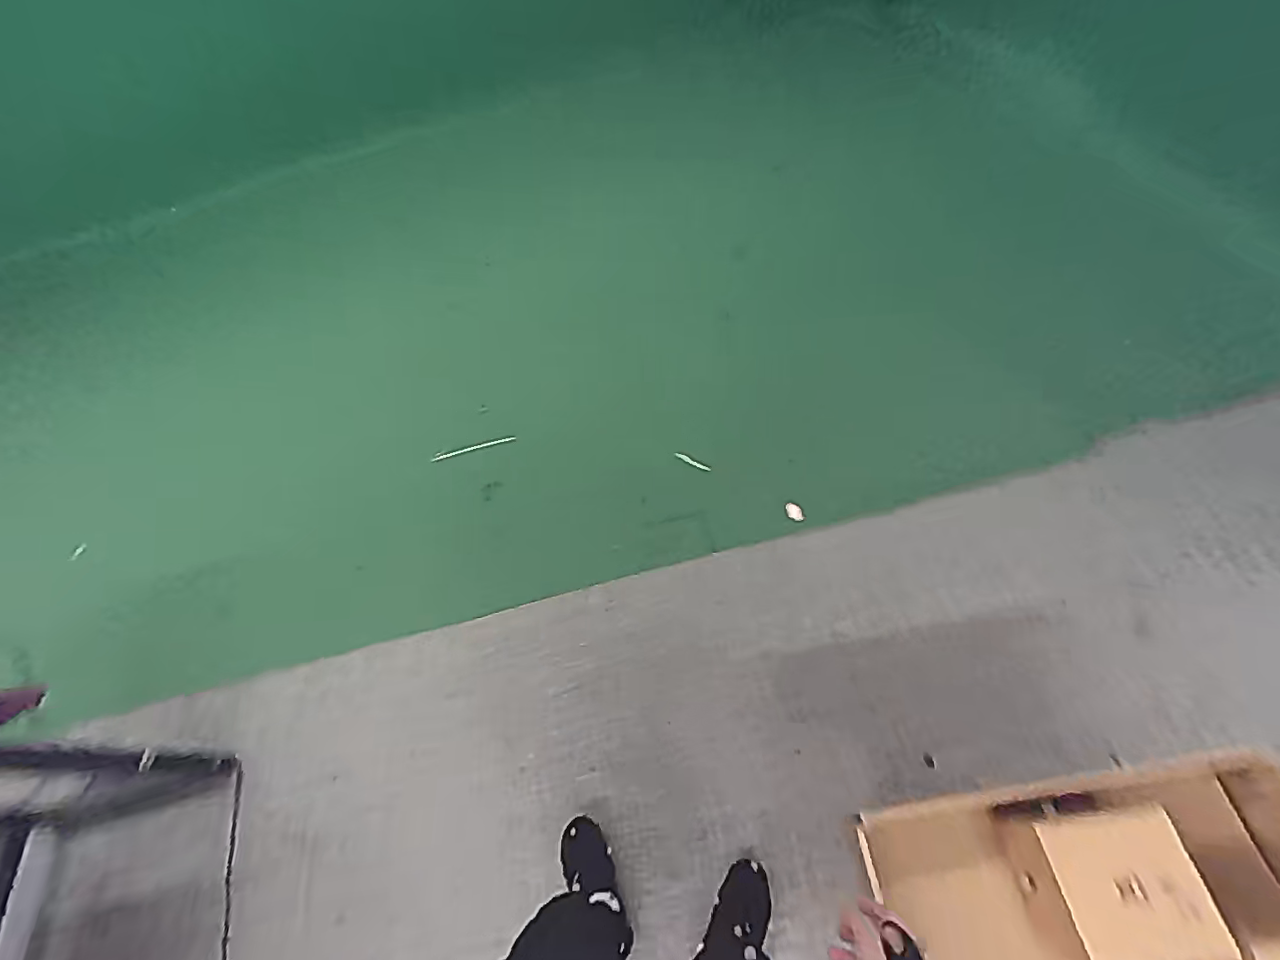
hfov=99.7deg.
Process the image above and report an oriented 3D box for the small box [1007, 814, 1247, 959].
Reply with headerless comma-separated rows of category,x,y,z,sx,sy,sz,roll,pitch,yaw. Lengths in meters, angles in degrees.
small box,0.659,0.579,0.764,0.179,0.176,0.168,-11,60,6
